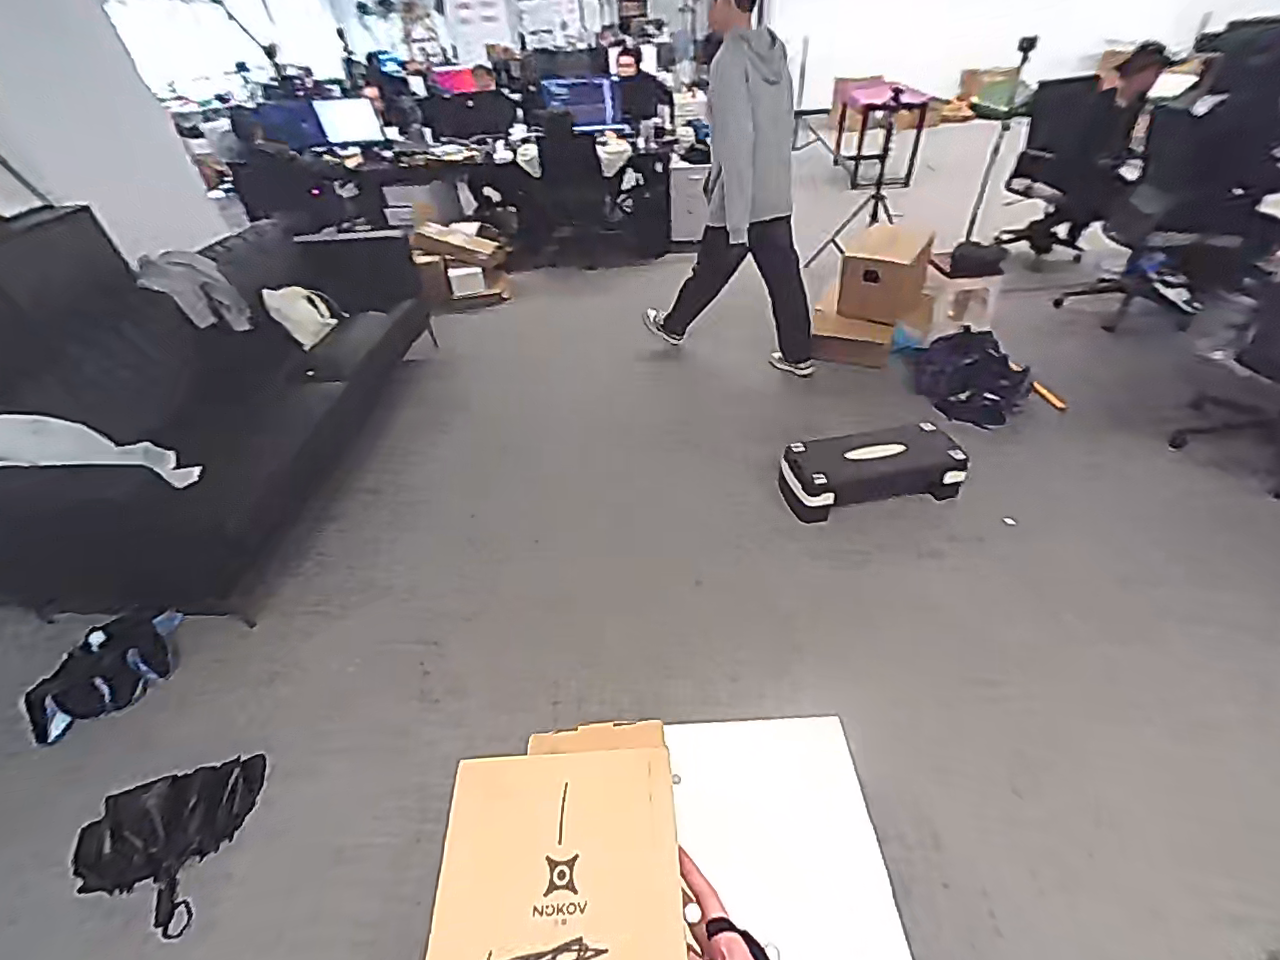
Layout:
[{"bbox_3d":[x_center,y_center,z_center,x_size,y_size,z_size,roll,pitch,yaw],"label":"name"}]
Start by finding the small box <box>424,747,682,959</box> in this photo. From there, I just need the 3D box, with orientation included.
[{"bbox_3d":[-0.053,0.331,0.421,0.168,0.176,0.179,-3,45,-1],"label":"small box"}]

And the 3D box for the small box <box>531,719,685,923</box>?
[{"bbox_3d":[-0.039,0.418,0.649,0.168,0.176,0.179,-7,41,0],"label":"small box"}]
